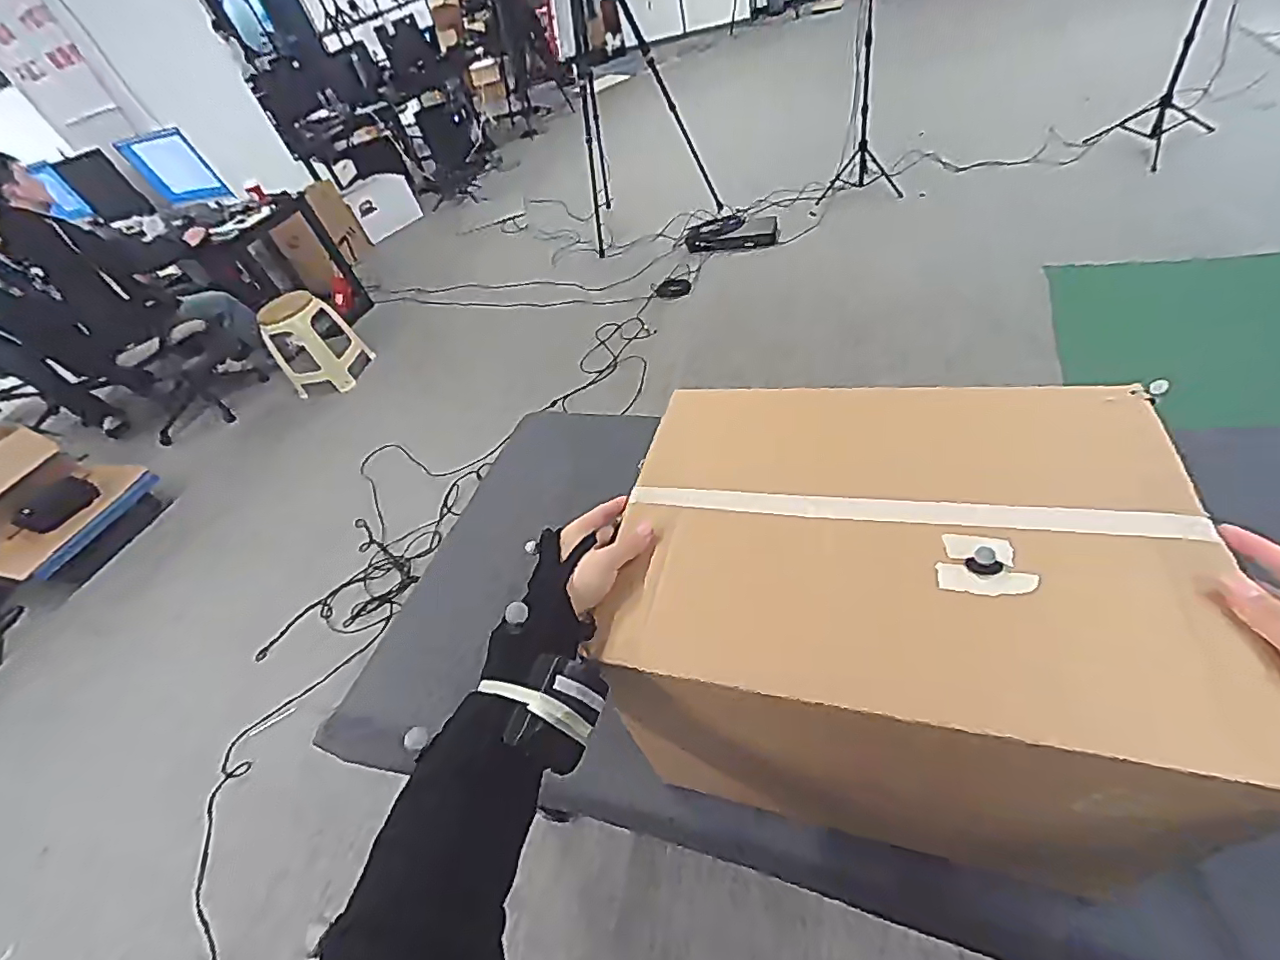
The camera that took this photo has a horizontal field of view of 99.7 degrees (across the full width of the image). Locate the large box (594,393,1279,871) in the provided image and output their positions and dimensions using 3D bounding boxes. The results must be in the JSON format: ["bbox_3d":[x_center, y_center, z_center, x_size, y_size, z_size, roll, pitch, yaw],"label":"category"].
[{"bbox_3d":[0.217,0.128,0.535,0.408,0.320,0.320,4,49,20],"label":"large box"}]
